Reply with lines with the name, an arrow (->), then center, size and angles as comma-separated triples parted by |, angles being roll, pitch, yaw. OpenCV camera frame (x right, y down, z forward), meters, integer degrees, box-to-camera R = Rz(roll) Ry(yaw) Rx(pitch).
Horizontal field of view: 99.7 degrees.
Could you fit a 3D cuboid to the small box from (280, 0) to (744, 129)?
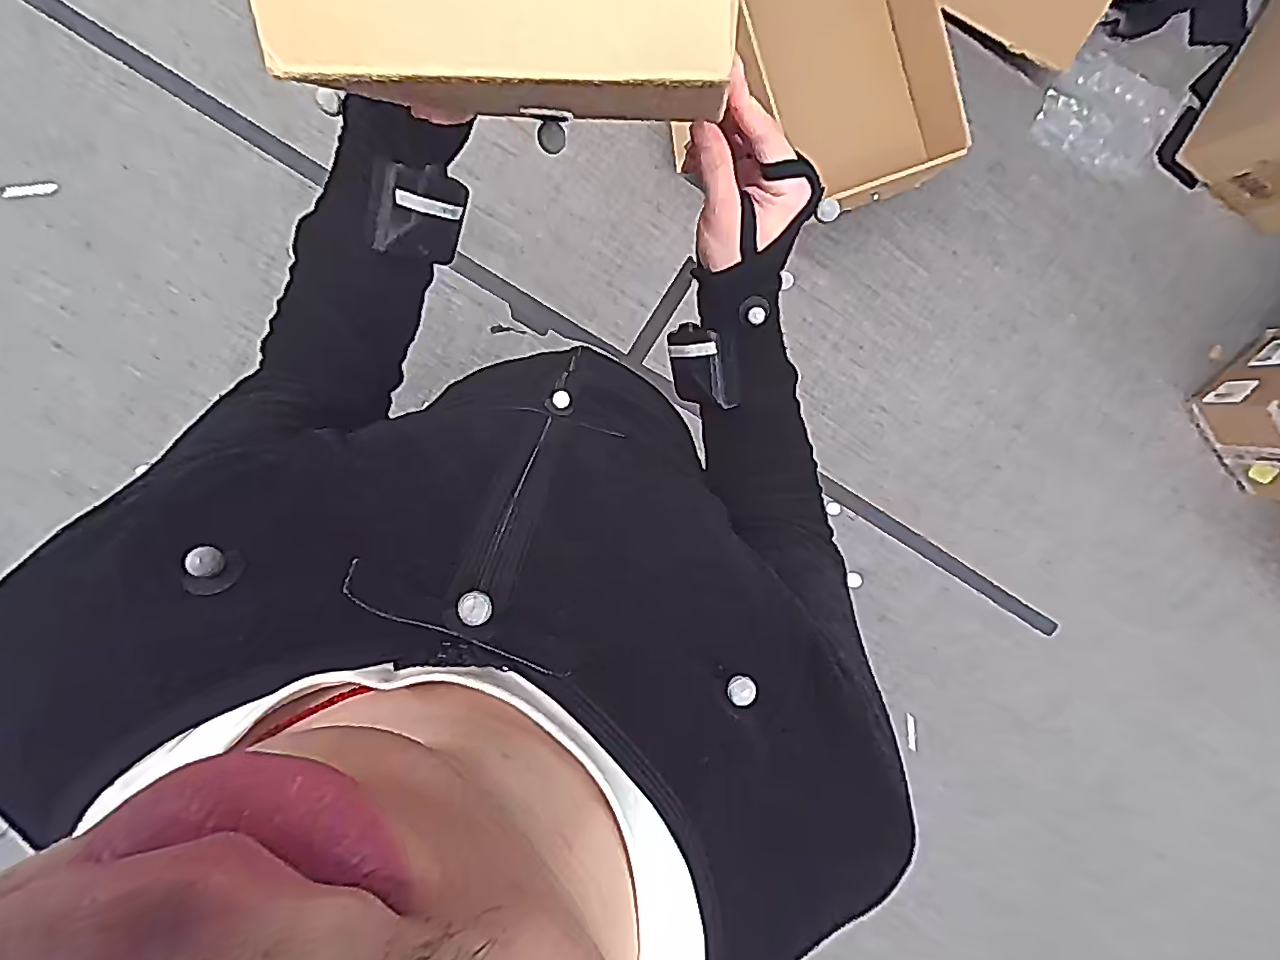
small box -> -0.036, -0.258, 0.225 | 0.168, 0.176, 0.179 | 5, 120, 5
